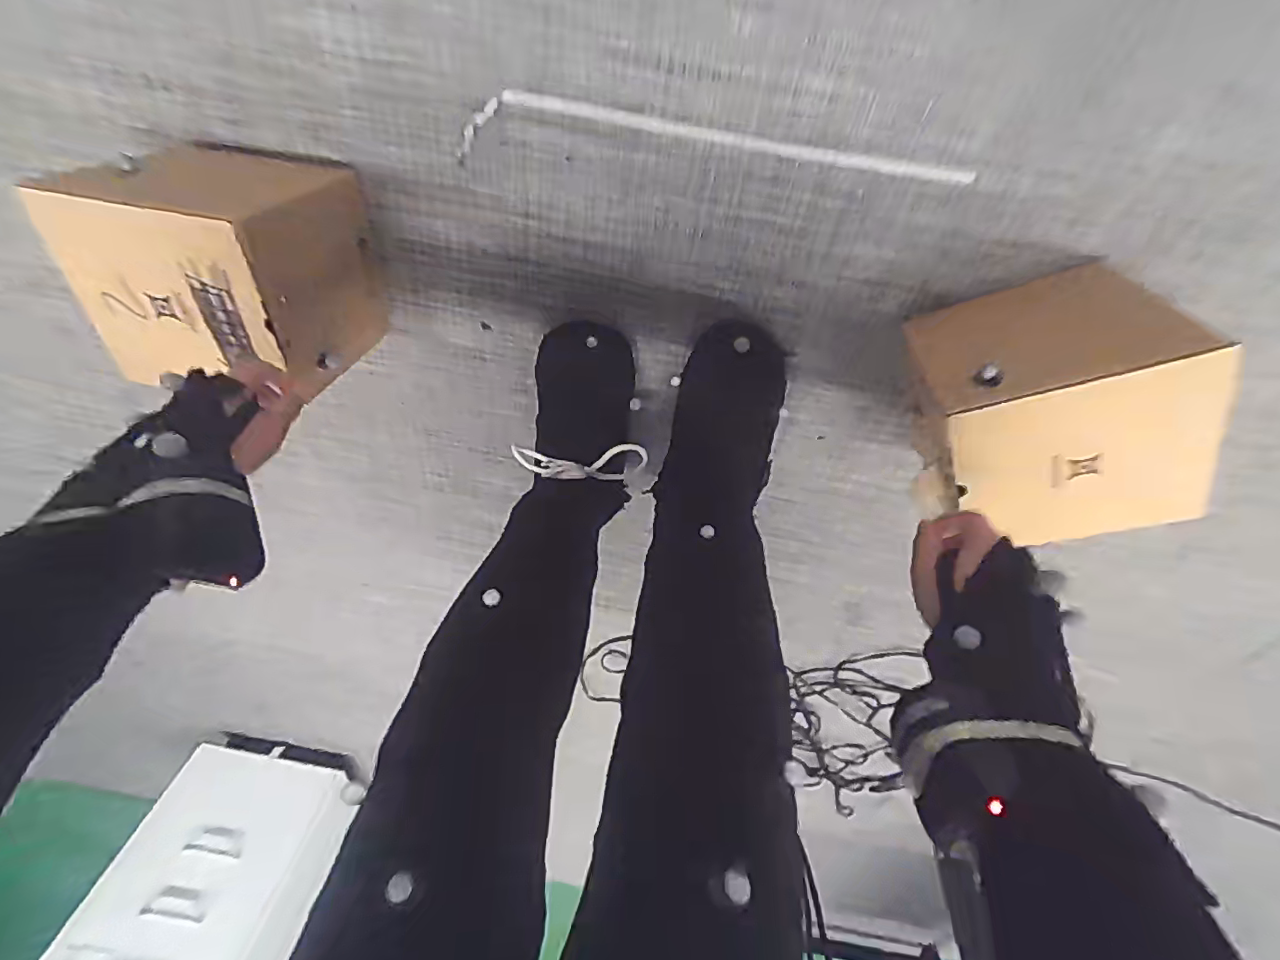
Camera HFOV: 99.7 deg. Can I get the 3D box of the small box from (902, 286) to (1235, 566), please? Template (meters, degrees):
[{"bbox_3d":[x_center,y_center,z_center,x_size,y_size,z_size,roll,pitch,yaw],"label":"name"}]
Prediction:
[{"bbox_3d":[0.362,-0.050,0.494,0.179,0.176,0.168,-15,125,22],"label":"small box"}]
